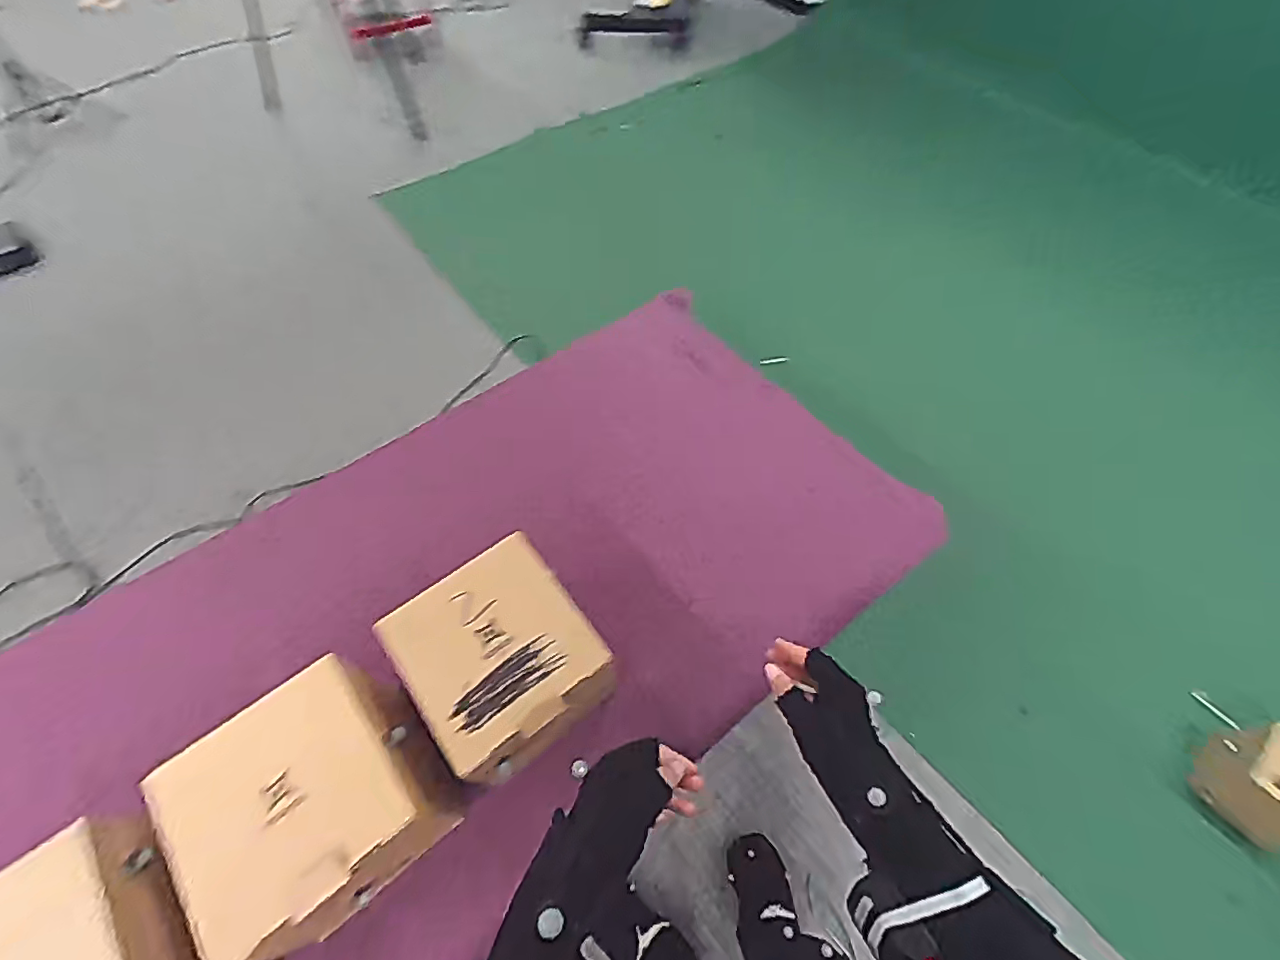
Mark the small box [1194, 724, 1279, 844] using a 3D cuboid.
[{"bbox_3d":[1.405,0.678,1.200,0.179,0.176,0.168,-35,66,-21],"label":"small box"}]
